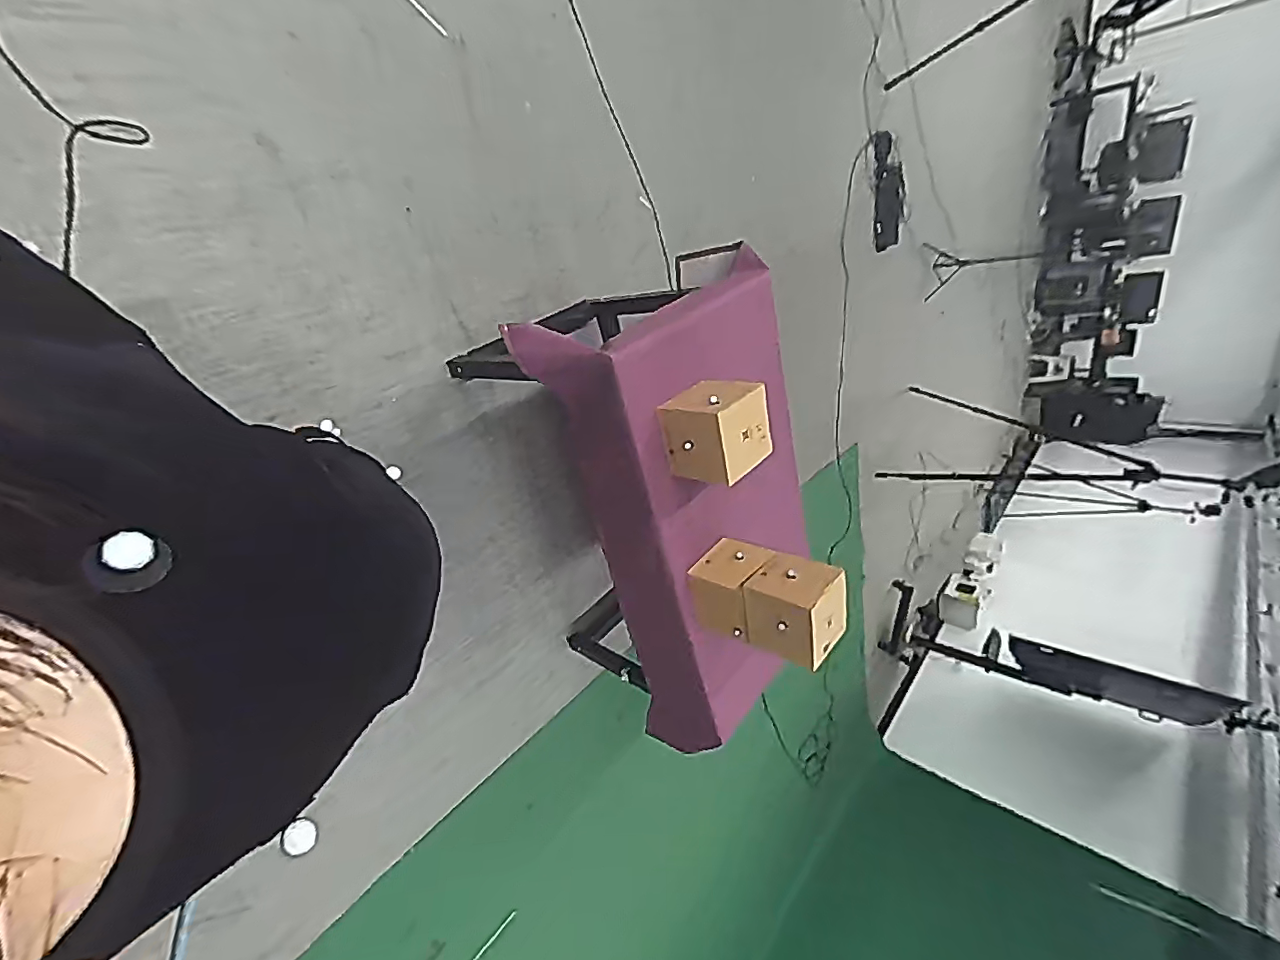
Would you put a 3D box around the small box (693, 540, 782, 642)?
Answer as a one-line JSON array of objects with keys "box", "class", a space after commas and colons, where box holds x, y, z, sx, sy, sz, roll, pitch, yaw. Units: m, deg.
[{"box": [0.252, 0.269, 1.368, 0.168, 0.176, 0.179, -36, 124, -35], "class": "small box"}]

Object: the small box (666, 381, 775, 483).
[{"box": [0.174, -0.113, 1.192, 0.179, 0.176, 0.168, -34, 123, -36], "class": "small box"}]

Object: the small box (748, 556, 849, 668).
[{"box": [0.365, 0.292, 1.250, 0.168, 0.176, 0.179, -31, 120, -38], "class": "small box"}]
